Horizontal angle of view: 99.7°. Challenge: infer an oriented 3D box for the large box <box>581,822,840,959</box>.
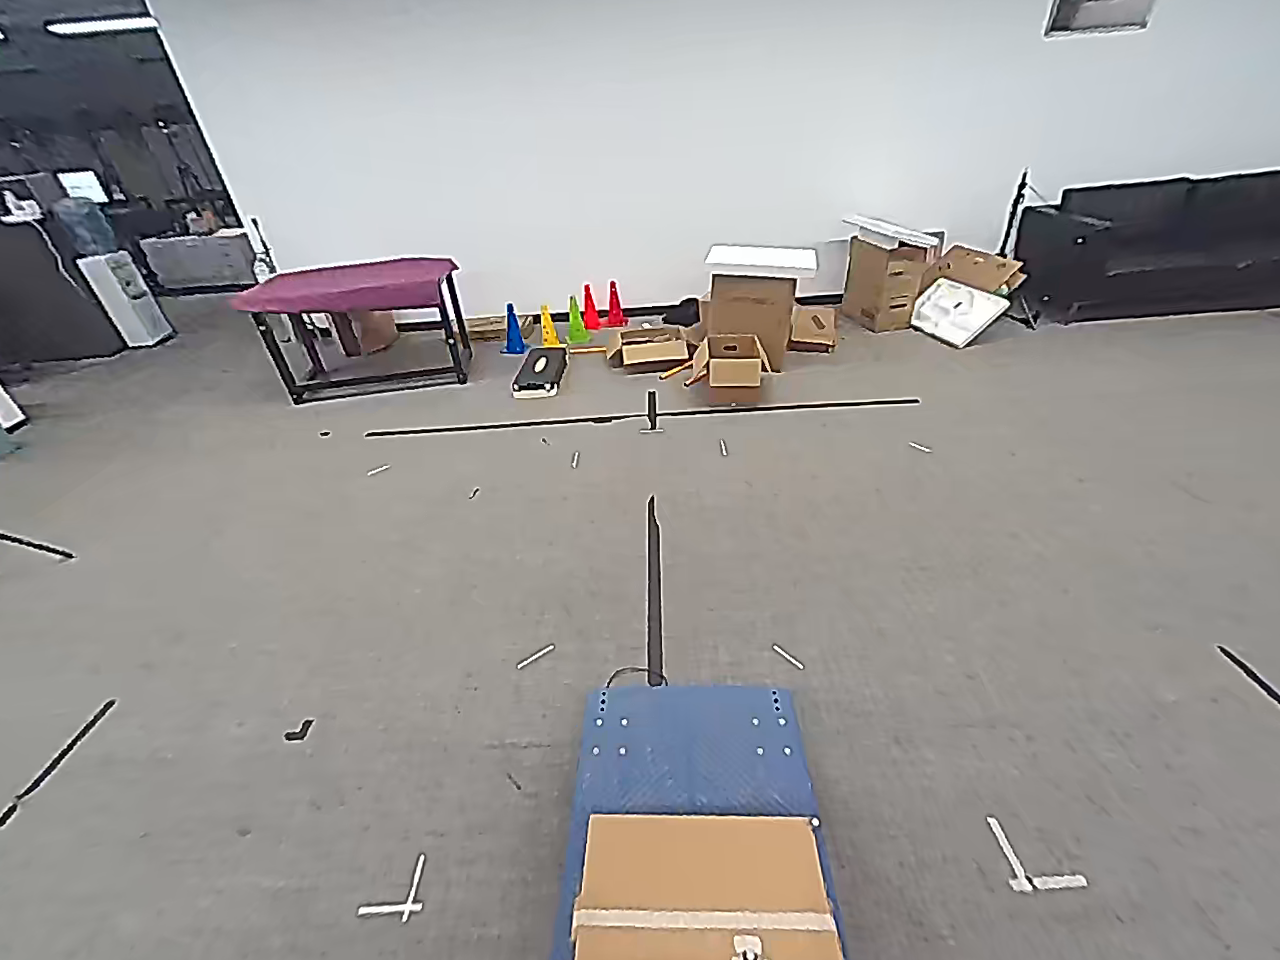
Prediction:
[{"bbox_3d":[0.112,0.835,0.942,0.408,0.320,0.320,-1,35,3],"label":"large box"}]
